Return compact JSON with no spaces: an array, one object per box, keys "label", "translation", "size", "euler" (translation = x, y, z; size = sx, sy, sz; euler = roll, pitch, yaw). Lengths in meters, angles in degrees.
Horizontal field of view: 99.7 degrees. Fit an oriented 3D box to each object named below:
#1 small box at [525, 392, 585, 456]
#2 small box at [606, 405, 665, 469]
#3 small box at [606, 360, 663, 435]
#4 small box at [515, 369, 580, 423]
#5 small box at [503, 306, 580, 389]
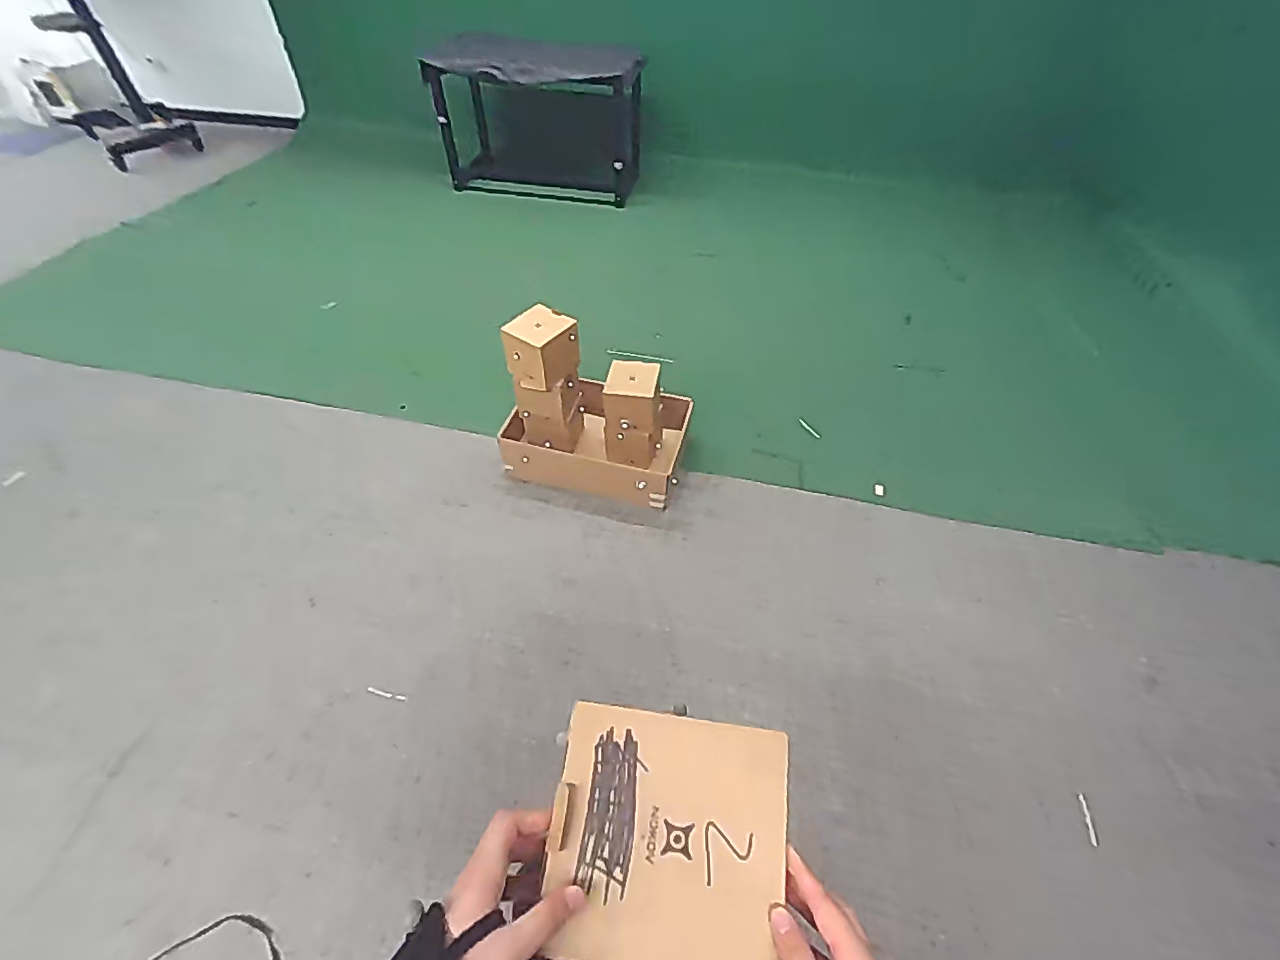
[{"label":"small box","translation":[-0.303,-0.215,1.970],"size":[0.168,0.176,0.179],"euler":[10,50,8]},{"label":"small box","translation":[-0.015,-0.170,1.940],"size":[0.168,0.176,0.179],"euler":[14,50,12]},{"label":"small box","translation":[-0.016,-0.276,1.816],"size":[0.168,0.176,0.179],"euler":[6,51,7]},{"label":"small box","translation":[-0.307,-0.317,1.841],"size":[0.168,0.176,0.179],"euler":[12,49,8]},{"label":"small box","translation":[-0.302,-0.418,1.713],"size":[0.168,0.176,0.179],"euler":[30,53,22]}]
